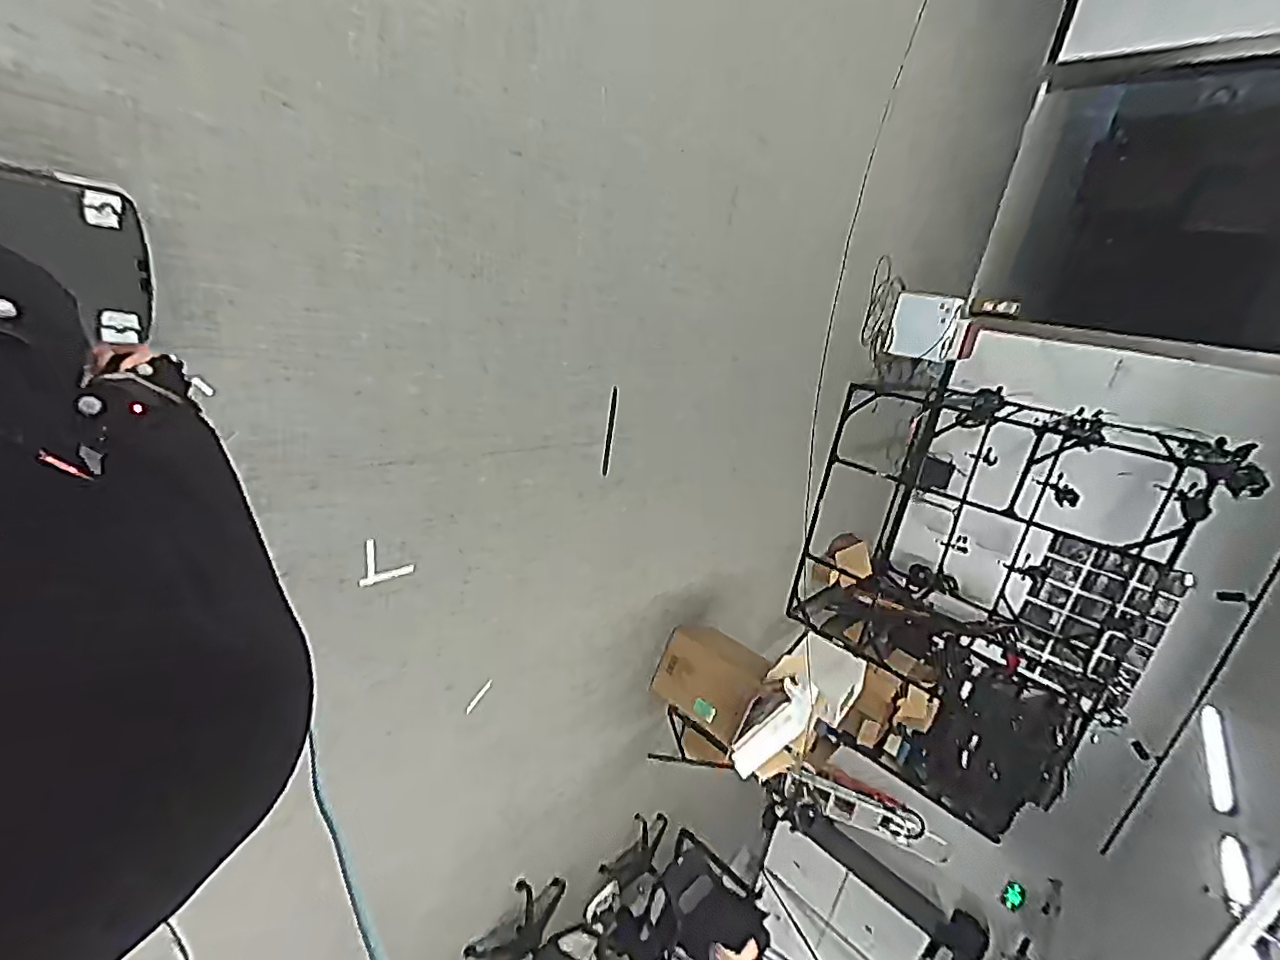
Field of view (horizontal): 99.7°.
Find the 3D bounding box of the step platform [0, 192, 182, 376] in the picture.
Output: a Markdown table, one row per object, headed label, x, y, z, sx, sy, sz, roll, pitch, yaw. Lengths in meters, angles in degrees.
| label | x | y | z | sx | sy | sz | roll | pitch | yaw |
| --- | --- | --- | --- | --- | --- | --- | --- | --- | --- |
| step platform | -1.171 | -0.345 | 0.855 | 0.684 | 0.204 | 0.286 | -4 | 111 | -49 |
